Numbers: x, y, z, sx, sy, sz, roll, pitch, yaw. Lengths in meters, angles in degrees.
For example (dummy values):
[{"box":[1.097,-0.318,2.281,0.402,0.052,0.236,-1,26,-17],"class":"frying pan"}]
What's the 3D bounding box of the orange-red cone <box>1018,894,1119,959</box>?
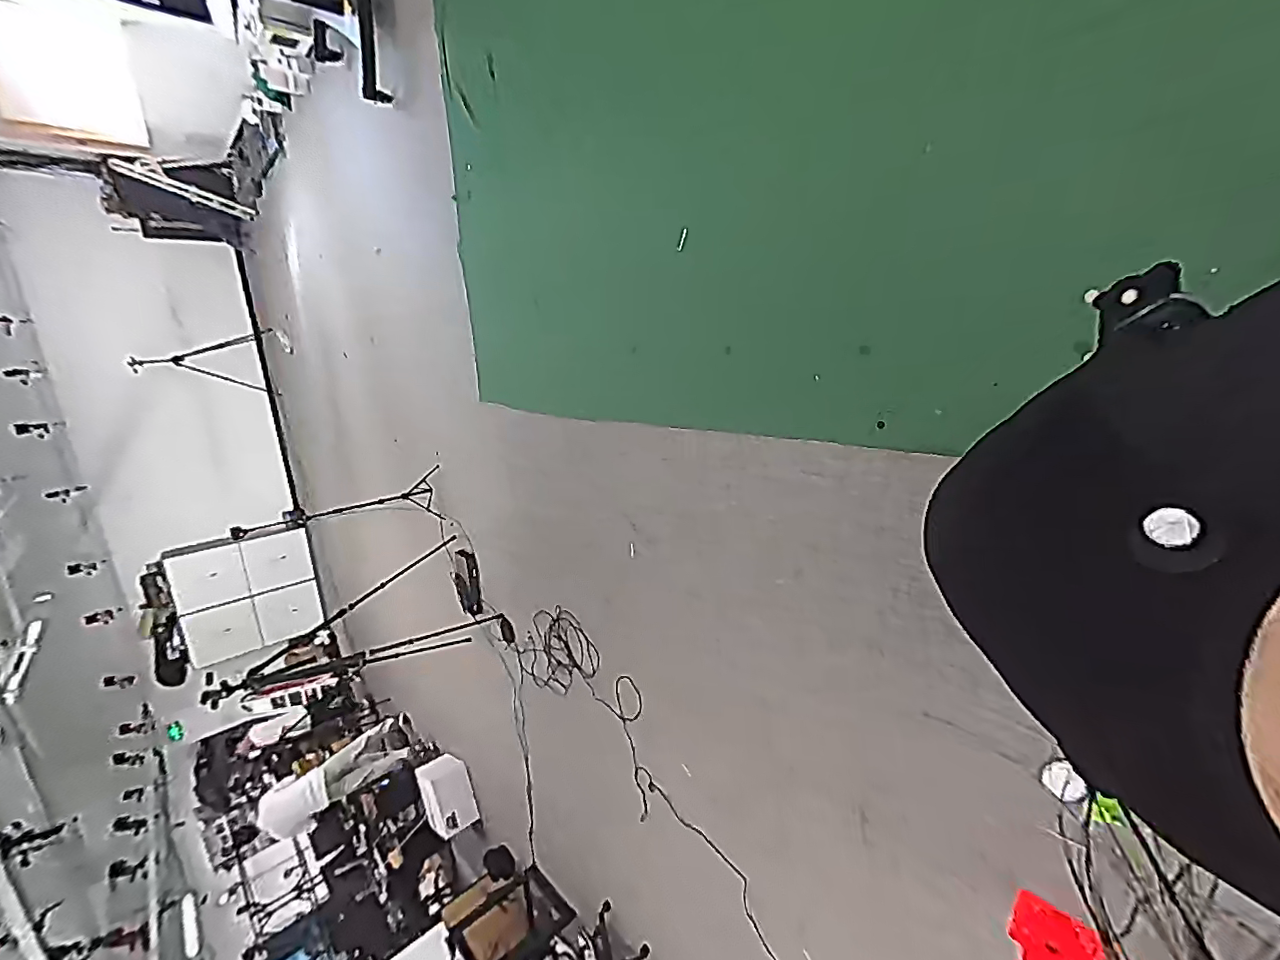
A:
[{"box":[1.045,1.298,1.371,0.198,0.360,0.199,18,114,43],"class":"orange-red cone"}]
